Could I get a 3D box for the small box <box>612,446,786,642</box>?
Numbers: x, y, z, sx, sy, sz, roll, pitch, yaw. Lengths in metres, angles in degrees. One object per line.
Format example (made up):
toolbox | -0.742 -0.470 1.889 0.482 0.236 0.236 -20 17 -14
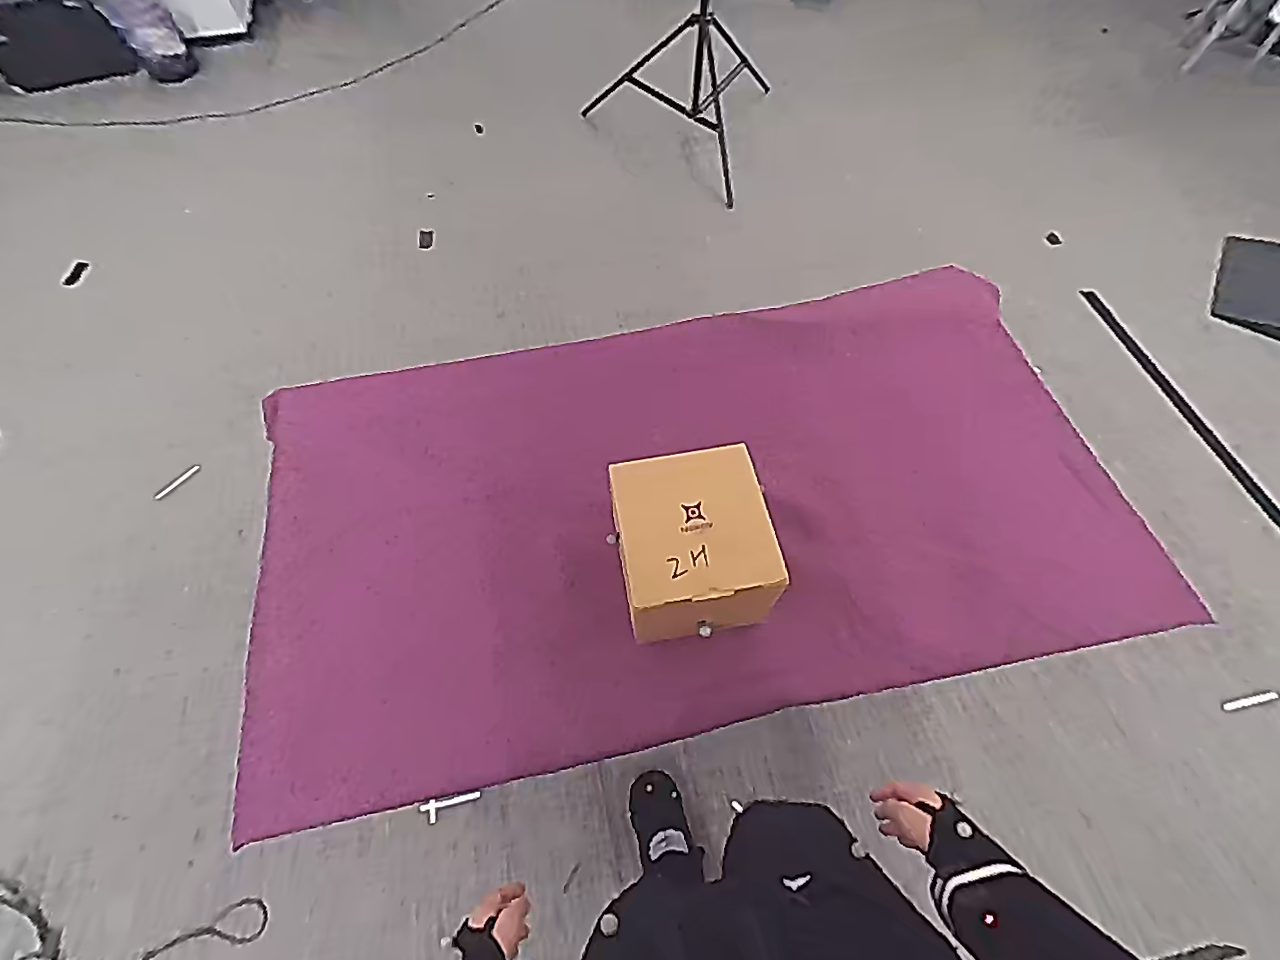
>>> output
small box | 0.059 0.084 0.667 0.168 0.176 0.179 -9 62 -4
